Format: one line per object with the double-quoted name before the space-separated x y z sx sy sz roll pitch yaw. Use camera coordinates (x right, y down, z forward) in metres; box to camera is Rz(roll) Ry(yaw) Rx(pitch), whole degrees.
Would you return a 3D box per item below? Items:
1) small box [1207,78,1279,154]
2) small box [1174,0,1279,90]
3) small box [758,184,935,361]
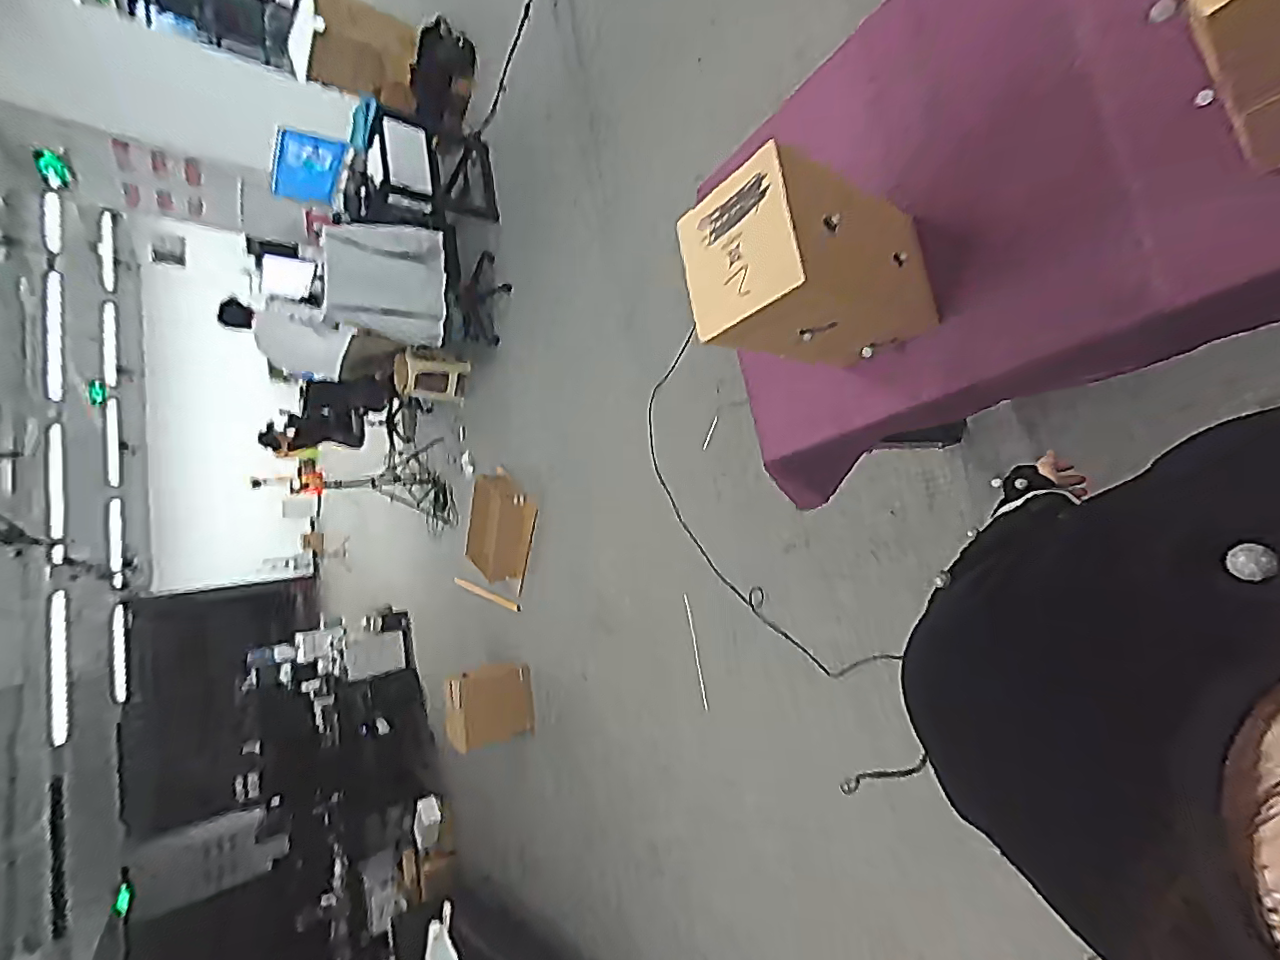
"small box" 0.583 -0.406 0.446 0.168 0.176 0.179 -22 76 50
"small box" 0.451 -0.397 0.346 0.168 0.176 0.179 -22 75 50
"small box" 0.306 -0.291 0.803 0.168 0.176 0.179 -20 78 50
